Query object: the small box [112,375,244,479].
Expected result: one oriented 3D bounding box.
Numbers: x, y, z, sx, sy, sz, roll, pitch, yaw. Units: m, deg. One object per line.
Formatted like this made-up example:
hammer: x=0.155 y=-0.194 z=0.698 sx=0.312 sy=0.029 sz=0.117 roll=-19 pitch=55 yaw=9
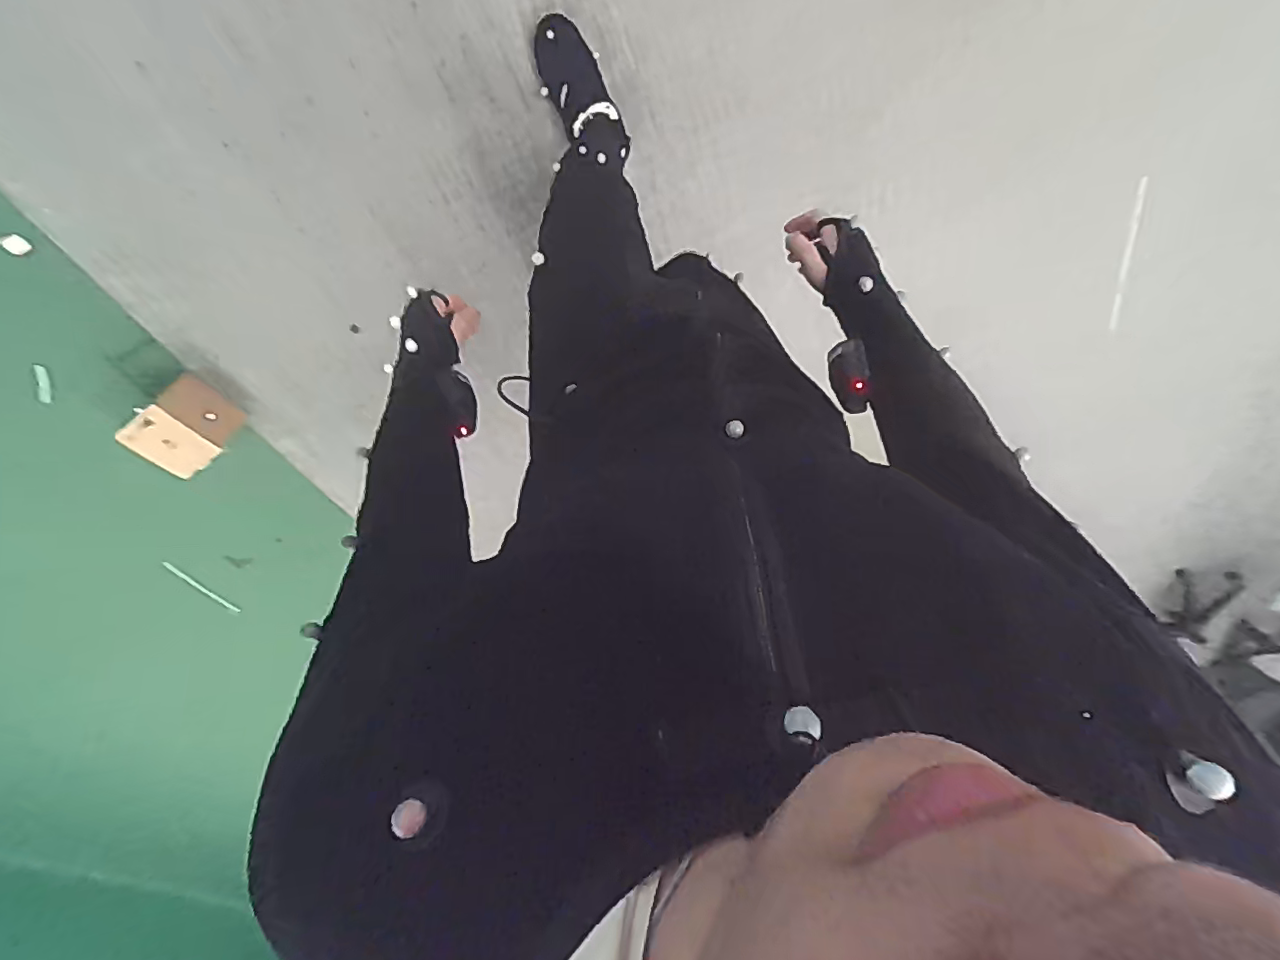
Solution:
small box: x=-1.199 y=-0.141 z=1.421 sx=0.168 sy=0.176 sz=0.179 roll=-30 pitch=128 yaw=14
